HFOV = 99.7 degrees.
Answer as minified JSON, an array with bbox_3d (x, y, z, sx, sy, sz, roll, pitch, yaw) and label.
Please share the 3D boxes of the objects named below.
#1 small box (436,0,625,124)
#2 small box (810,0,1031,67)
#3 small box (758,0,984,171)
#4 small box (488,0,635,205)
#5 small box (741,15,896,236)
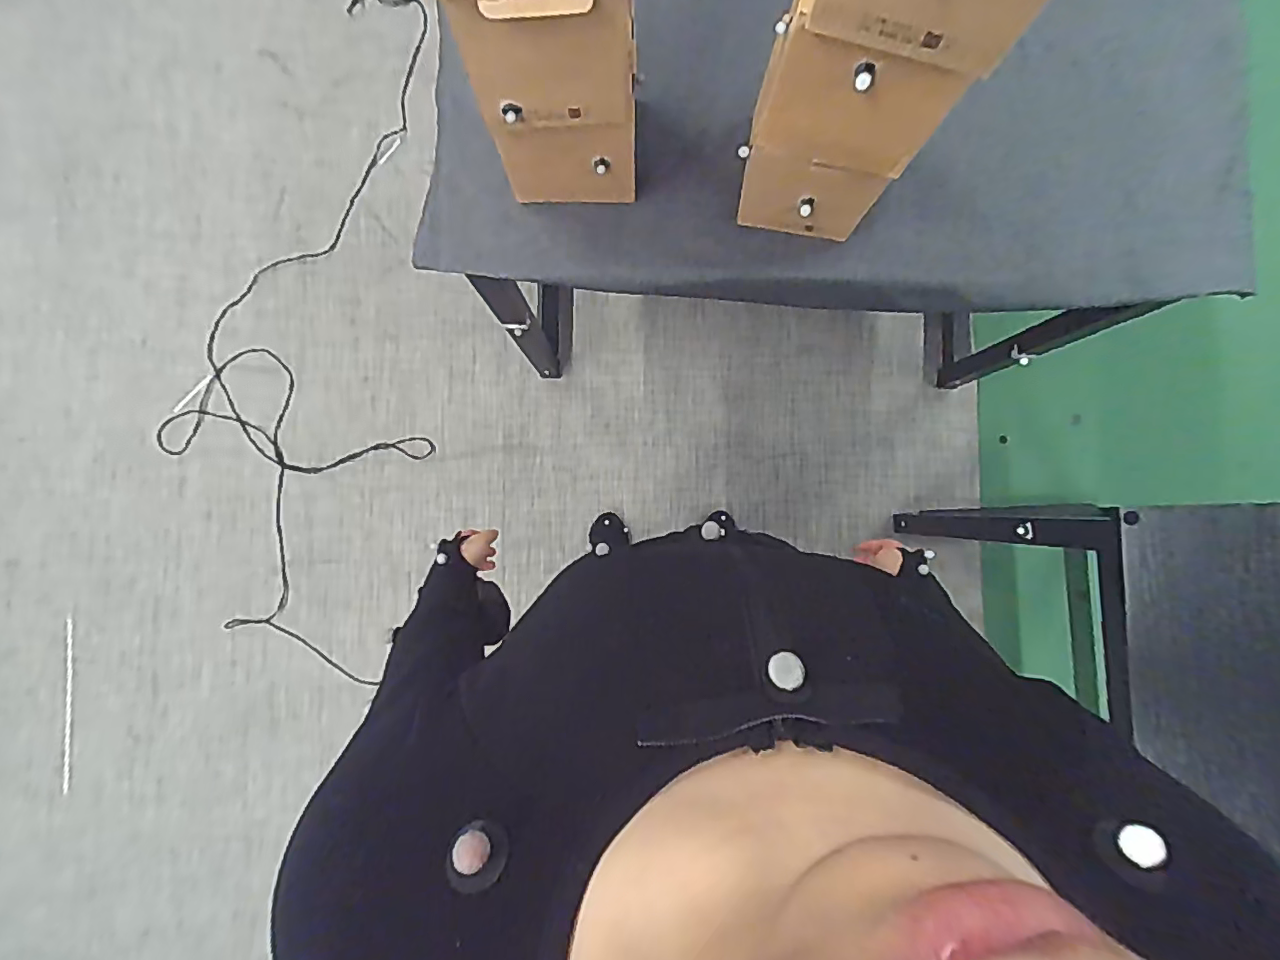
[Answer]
[{"bbox_3d":[-0.105,-0.504,0.562,0.168,0.176,0.179,-5,84,-1],"label":"small box"},{"bbox_3d":[0.237,-0.454,0.391,0.168,0.176,0.179,16,86,2],"label":"small box"},{"bbox_3d":[0.238,-0.456,0.556,0.179,0.176,0.168,15,86,2],"label":"small box"},{"bbox_3d":[-0.094,-0.493,0.726,0.179,0.176,0.168,-1,85,1],"label":"small box"},{"bbox_3d":[0.236,-0.454,0.720,0.168,0.176,0.179,9,87,1],"label":"small box"}]
